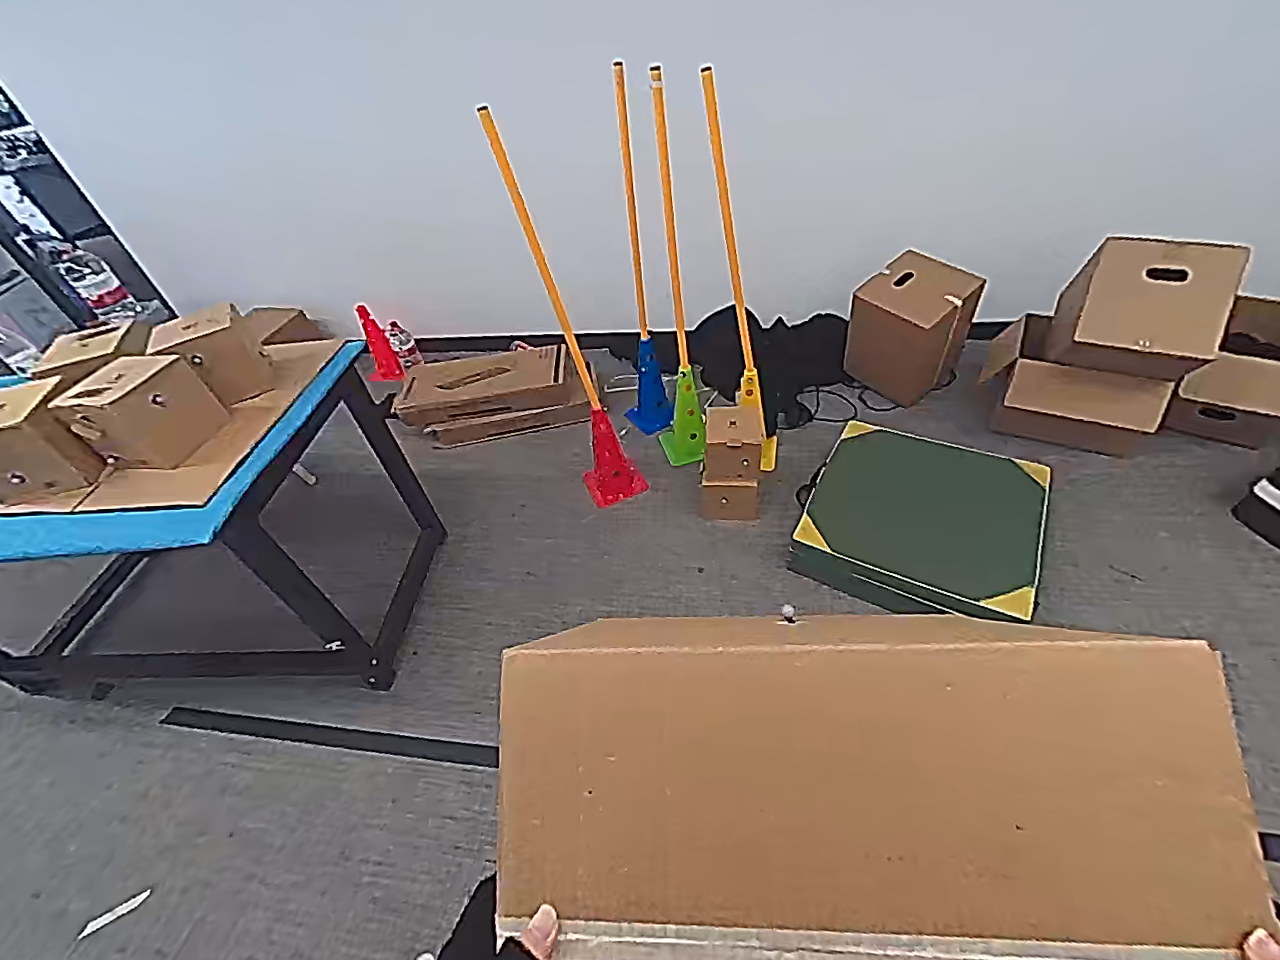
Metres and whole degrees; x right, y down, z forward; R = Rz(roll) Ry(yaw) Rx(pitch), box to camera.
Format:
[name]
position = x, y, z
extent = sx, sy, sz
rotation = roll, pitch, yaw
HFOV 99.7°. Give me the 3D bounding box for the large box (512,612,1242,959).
[large box]
position = 0.140, 0.286, 0.452
extent = 0.408, 0.320, 0.320
rotation = -4, 79, 7
